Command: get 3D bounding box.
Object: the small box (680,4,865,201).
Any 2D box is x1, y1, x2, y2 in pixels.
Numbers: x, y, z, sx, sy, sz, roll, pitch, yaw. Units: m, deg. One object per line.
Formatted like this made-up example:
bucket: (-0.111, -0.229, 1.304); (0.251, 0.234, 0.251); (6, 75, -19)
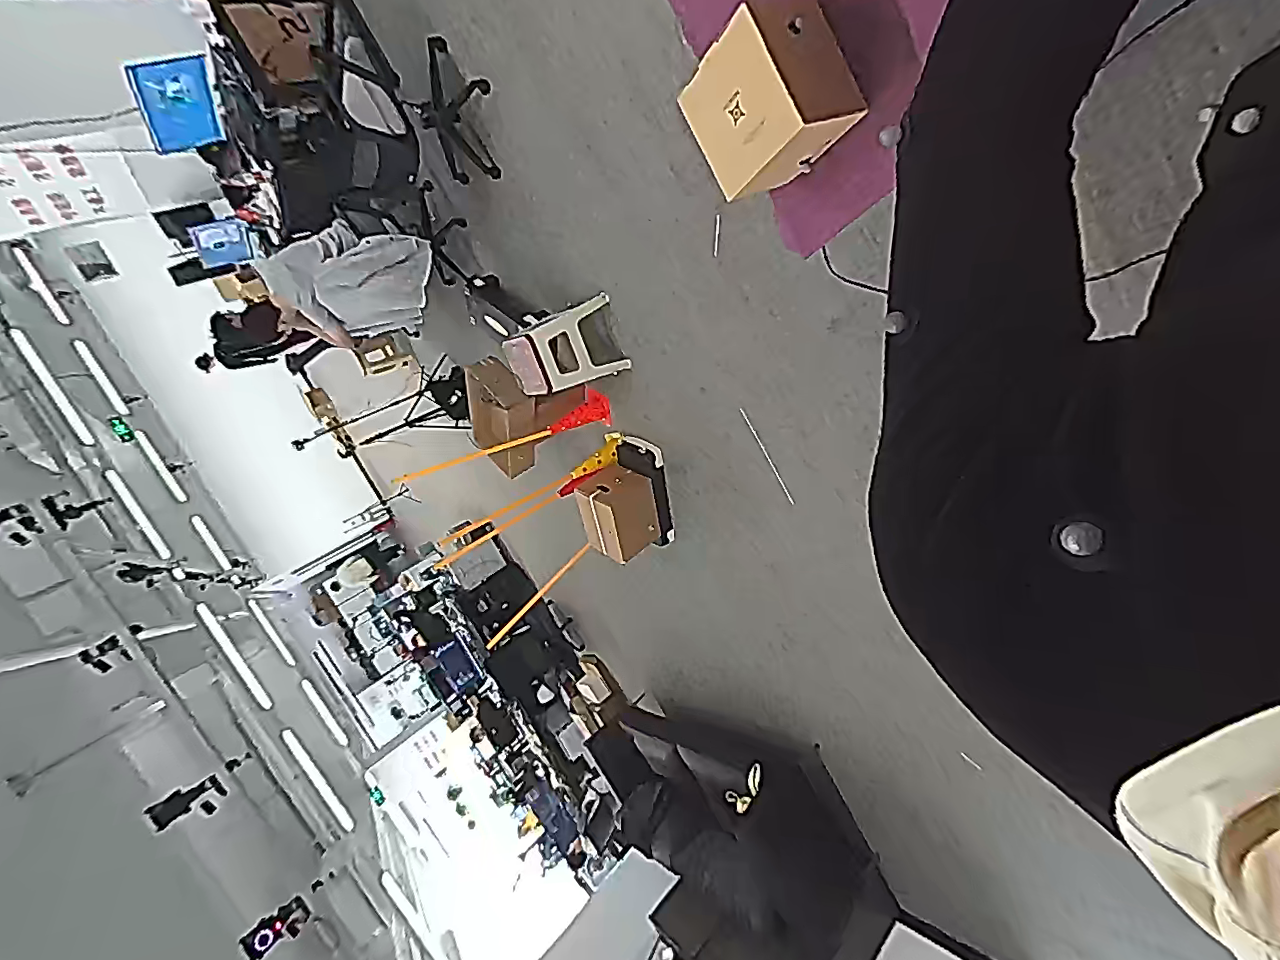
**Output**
small box: (0.199, -0.561, 0.815); (0.179, 0.176, 0.168); (61, 150, -5)
